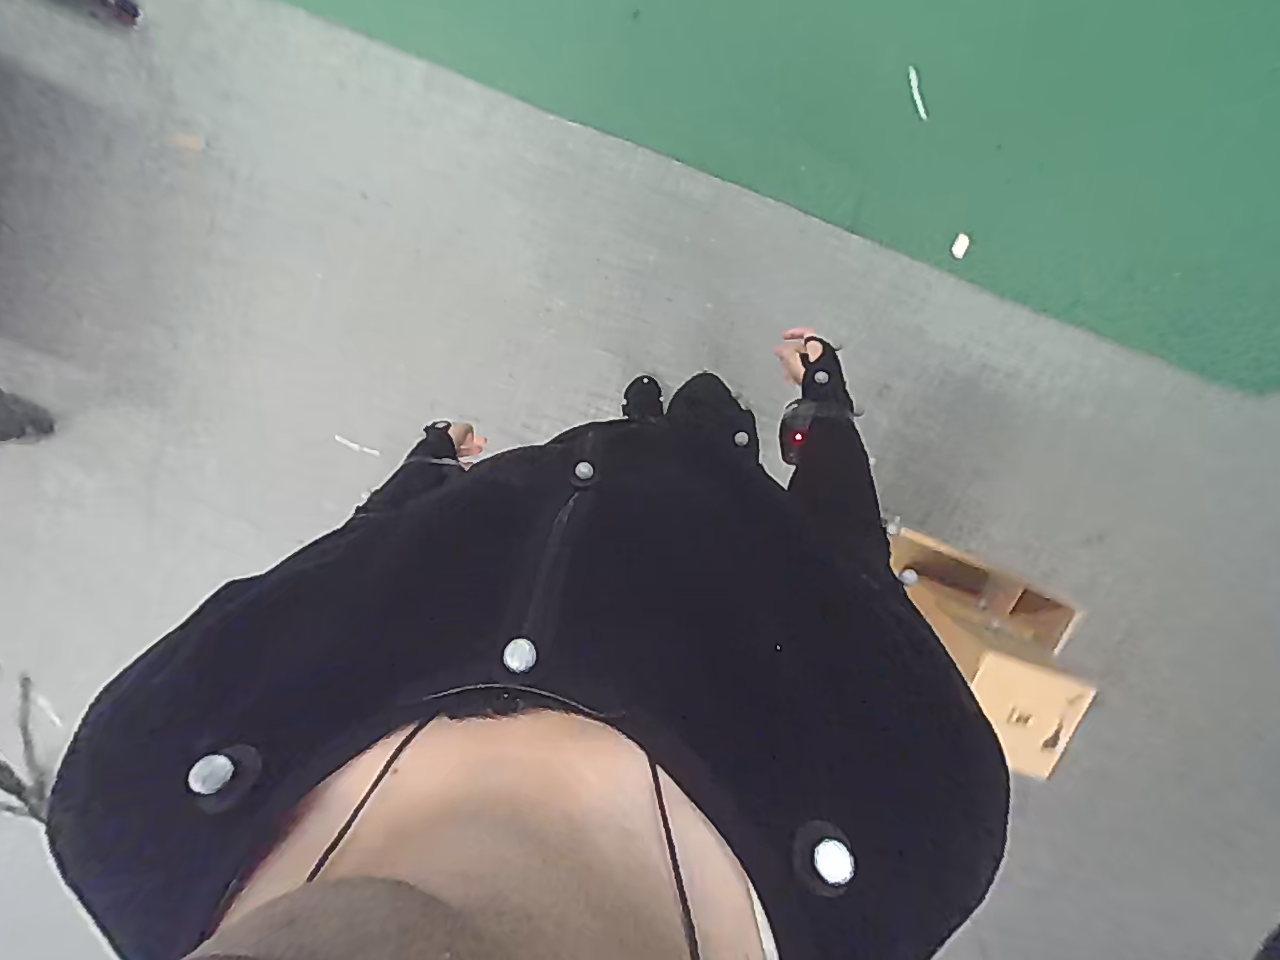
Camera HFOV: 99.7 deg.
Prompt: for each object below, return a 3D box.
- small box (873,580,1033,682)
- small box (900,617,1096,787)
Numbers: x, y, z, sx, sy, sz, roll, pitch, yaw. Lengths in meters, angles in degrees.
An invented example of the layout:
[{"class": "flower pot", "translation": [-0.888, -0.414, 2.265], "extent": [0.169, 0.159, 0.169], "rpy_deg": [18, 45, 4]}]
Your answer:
[{"class": "small box", "translation": [0.586, 0.312, 1.037], "extent": [0.179, 0.176, 0.168], "rpy_deg": [20, 101, 0]}, {"class": "small box", "translation": [0.560, 0.346, 0.878], "extent": [0.179, 0.176, 0.168], "rpy_deg": [20, 102, 0]}]
